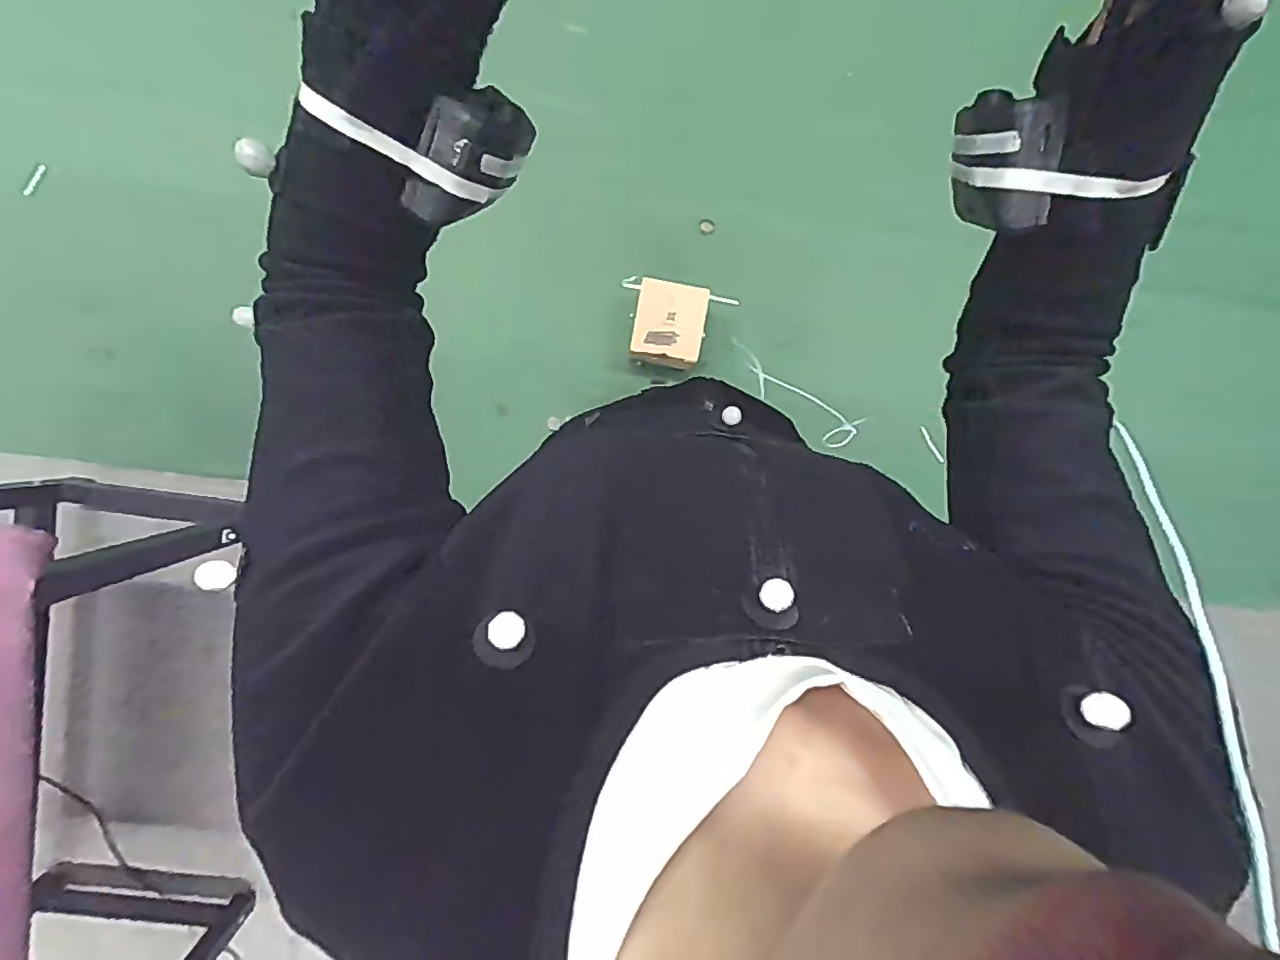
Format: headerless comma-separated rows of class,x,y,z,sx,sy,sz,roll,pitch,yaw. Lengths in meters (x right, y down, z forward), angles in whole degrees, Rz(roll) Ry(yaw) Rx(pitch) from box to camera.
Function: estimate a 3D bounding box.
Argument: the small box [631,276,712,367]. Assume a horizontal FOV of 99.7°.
small box,0.073,-0.389,1.359,0.168,0.176,0.179,10,95,-4
